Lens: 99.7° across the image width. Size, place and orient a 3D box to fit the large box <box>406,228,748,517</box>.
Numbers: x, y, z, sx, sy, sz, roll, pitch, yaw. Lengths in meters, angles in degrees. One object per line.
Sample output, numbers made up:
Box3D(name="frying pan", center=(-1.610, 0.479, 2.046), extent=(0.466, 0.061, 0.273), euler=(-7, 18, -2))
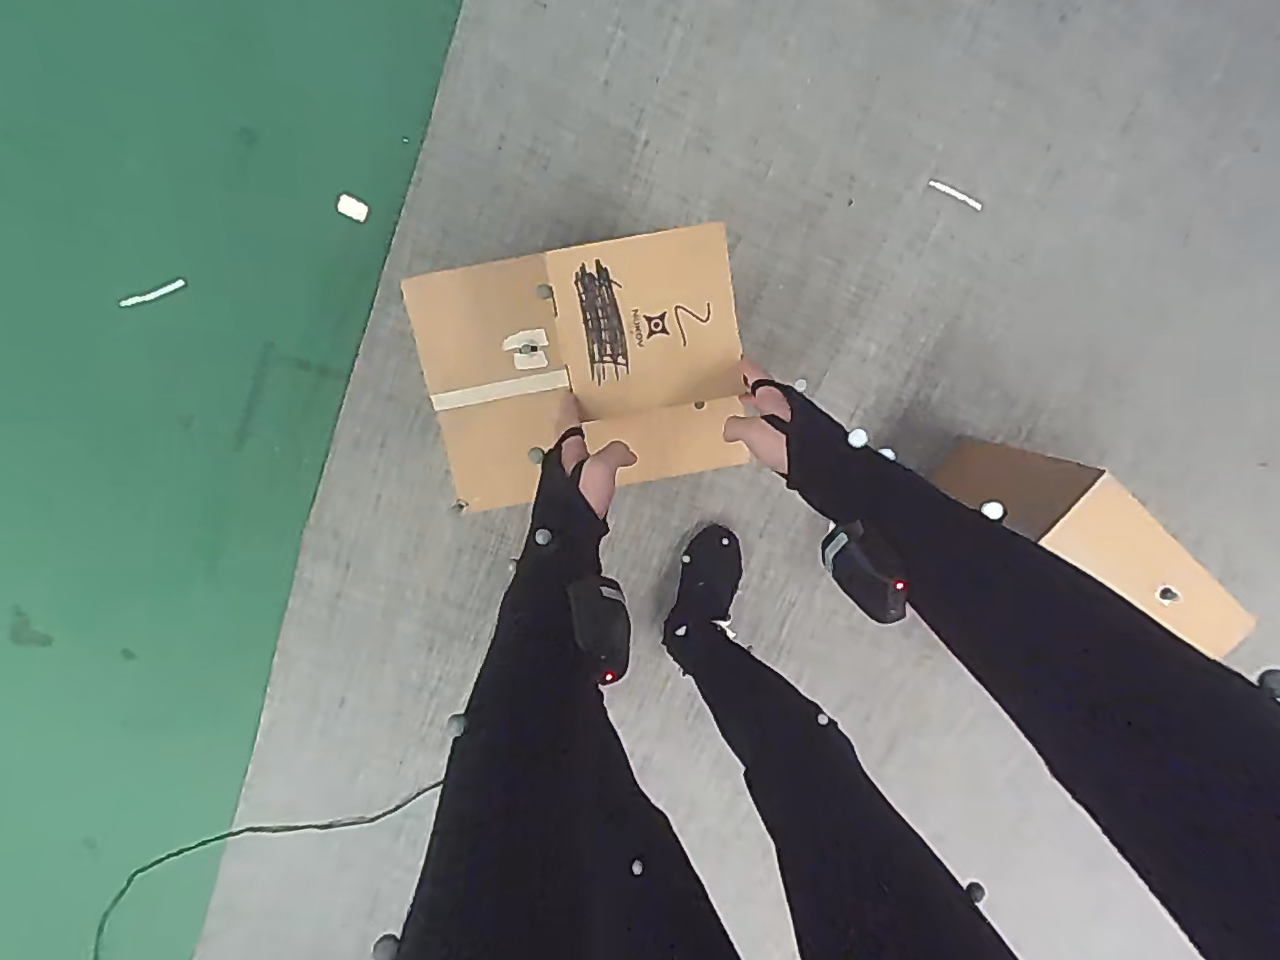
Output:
Box3D(name="large box", center=(-0.078, -0.167, 0.851), extent=(0.408, 0.320, 0.320), euler=(-10, 103, 0))
